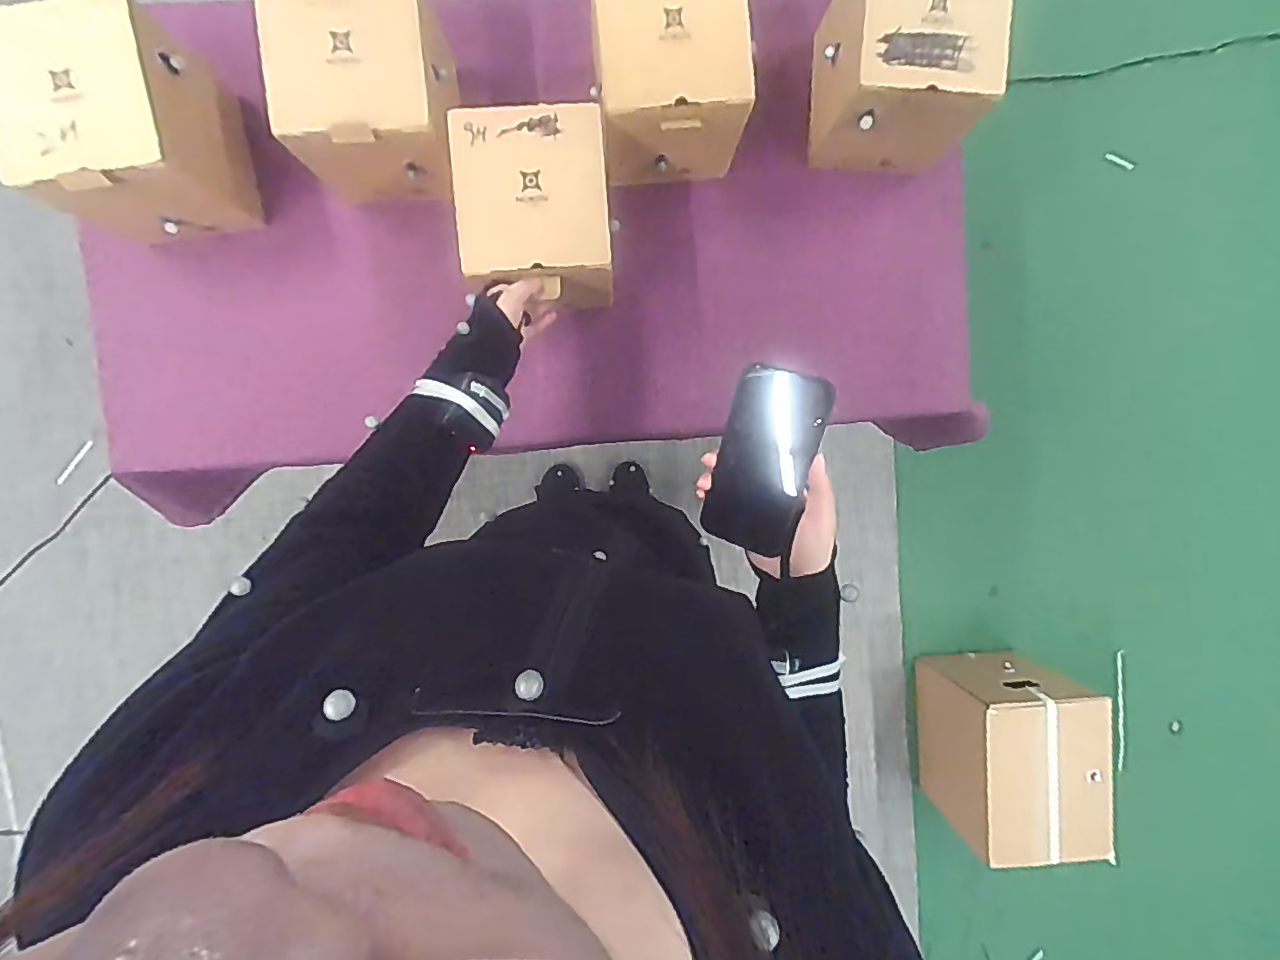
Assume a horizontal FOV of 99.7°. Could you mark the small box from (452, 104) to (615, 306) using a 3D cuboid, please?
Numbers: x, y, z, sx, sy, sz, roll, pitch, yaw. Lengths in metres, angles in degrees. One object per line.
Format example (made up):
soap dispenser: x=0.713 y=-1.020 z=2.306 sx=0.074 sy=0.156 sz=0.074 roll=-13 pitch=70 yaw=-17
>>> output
small box: x=-0.118 y=-0.319 z=0.664 sx=0.168 sy=0.176 sz=0.179 roll=-4 pitch=95 yaw=-2

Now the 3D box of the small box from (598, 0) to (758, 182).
small box: x=0.037 y=-0.497 z=0.659 sx=0.168 sy=0.176 sz=0.179 roll=-6 pitch=95 yaw=-2

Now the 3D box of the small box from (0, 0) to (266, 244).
small box: x=-0.587 y=-0.406 z=0.637 sx=0.168 sy=0.176 sz=0.179 roll=-10 pitch=95 yaw=-2

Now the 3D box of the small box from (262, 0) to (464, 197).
small box: x=-0.310 y=-0.458 z=0.647 sx=0.168 sy=0.176 sz=0.179 roll=-4 pitch=94 yaw=-3
